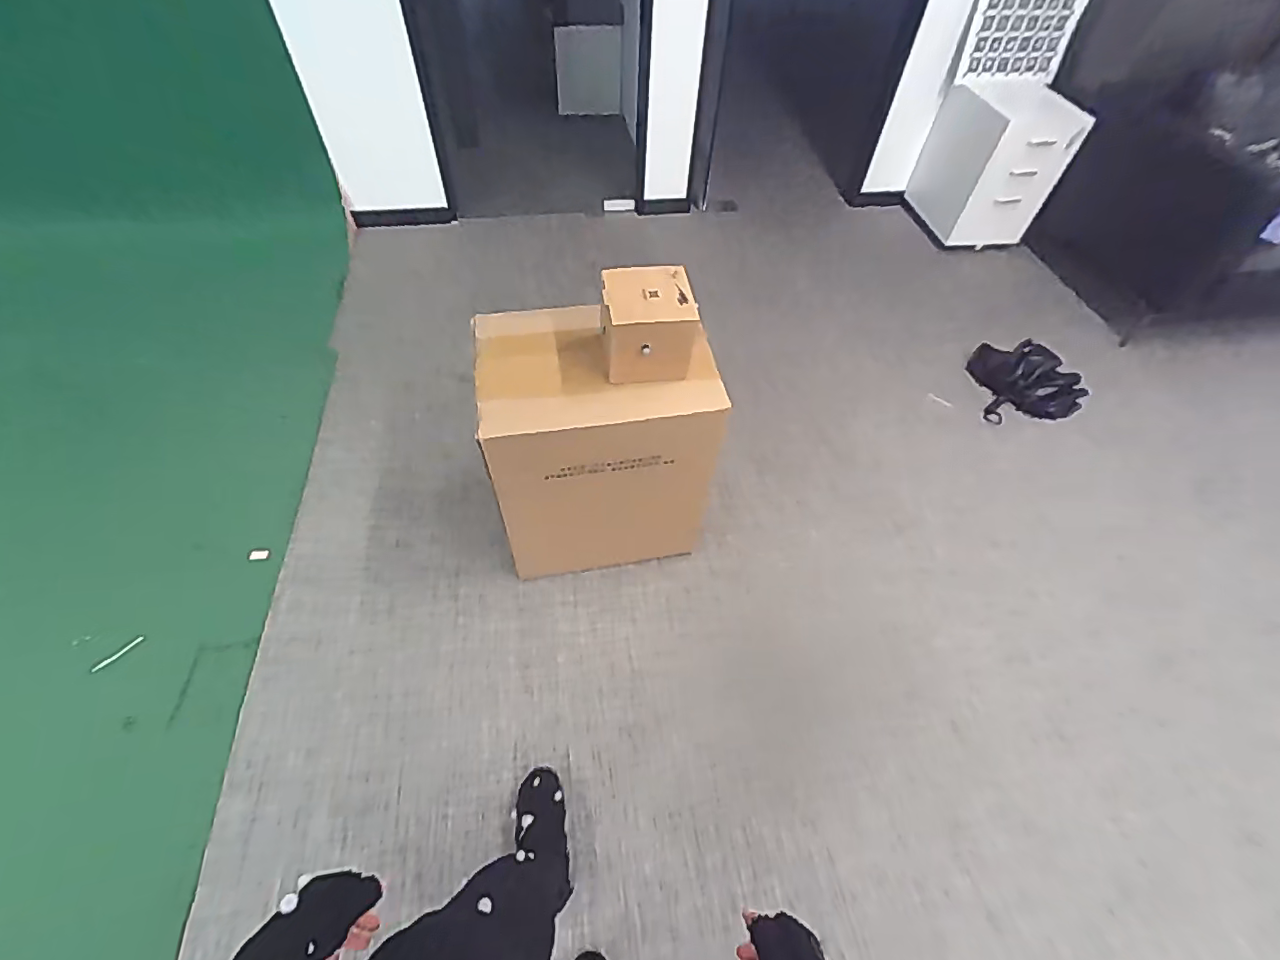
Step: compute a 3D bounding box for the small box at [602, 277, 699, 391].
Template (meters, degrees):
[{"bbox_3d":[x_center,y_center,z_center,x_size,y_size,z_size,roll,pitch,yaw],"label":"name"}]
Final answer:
[{"bbox_3d":[0.016,-0.305,1.146,0.179,0.176,0.168,-6,58,-8],"label":"small box"}]
